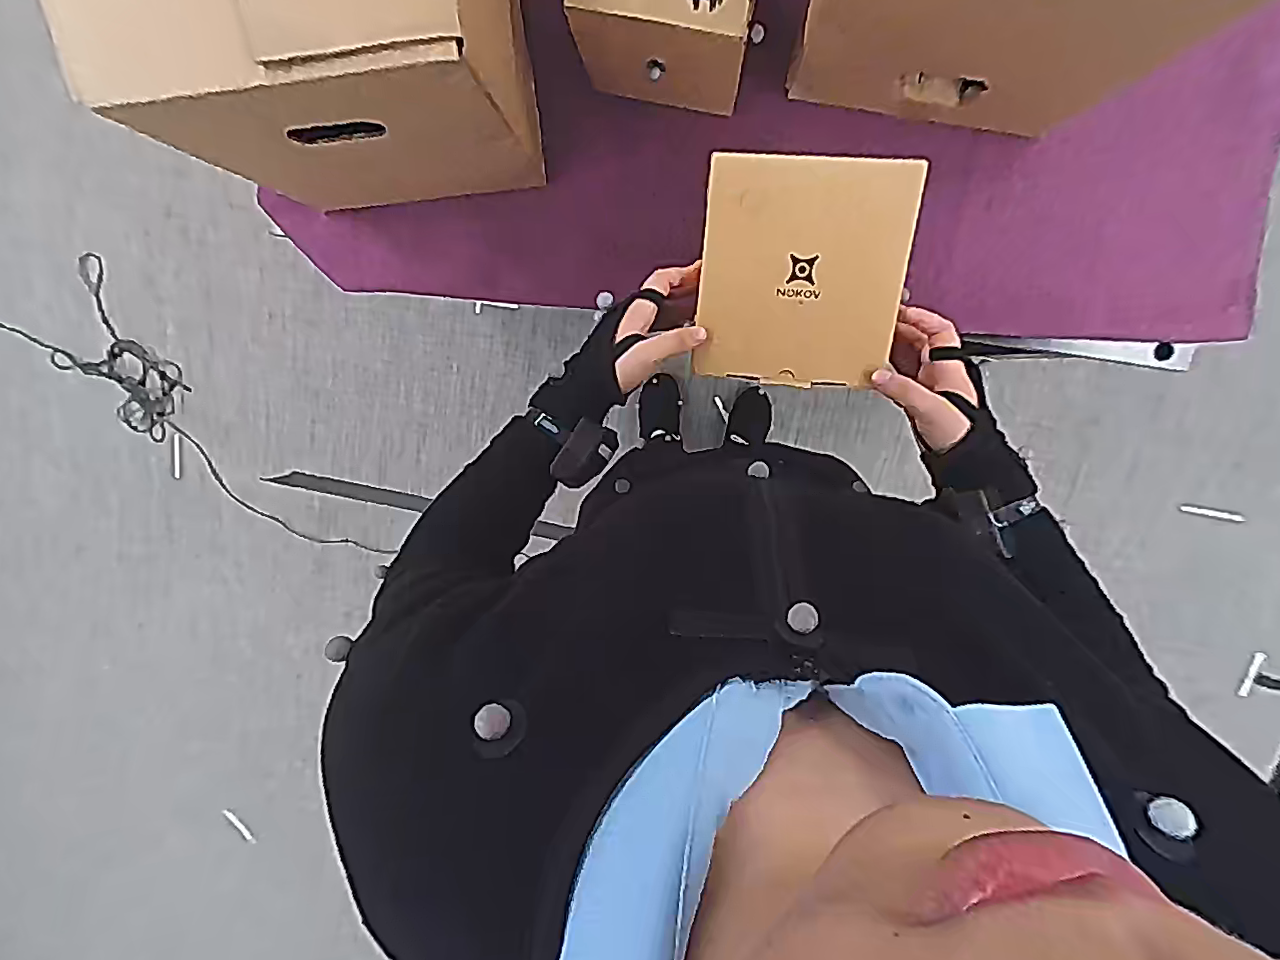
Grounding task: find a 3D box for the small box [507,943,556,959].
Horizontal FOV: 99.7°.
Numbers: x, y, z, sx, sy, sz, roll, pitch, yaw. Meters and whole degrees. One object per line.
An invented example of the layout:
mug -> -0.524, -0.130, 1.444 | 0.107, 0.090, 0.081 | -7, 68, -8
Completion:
small box -> -0.388, 1.731, 1.836 | 0.168, 0.176, 0.179 | 9, 103, 3
